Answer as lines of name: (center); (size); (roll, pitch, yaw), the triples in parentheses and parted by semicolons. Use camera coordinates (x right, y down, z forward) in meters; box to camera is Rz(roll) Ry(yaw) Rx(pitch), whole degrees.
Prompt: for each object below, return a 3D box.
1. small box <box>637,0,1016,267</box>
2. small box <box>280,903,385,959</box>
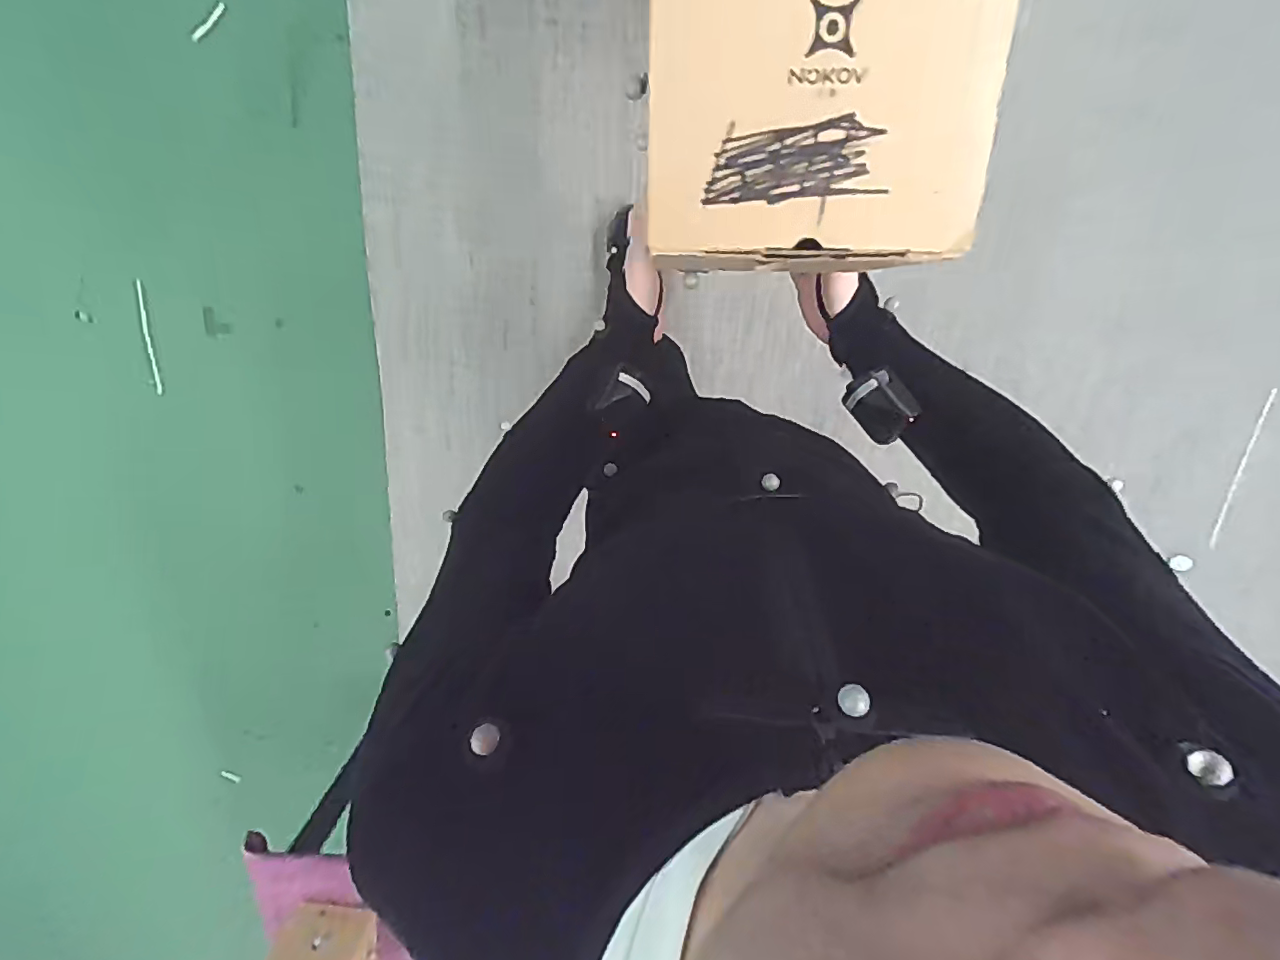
small box: (0.087, -0.224, 0.321); (0.168, 0.176, 0.179); (2, 108, 2)
small box: (-0.657, 1.038, 1.137); (0.168, 0.176, 0.179); (8, 109, 0)
